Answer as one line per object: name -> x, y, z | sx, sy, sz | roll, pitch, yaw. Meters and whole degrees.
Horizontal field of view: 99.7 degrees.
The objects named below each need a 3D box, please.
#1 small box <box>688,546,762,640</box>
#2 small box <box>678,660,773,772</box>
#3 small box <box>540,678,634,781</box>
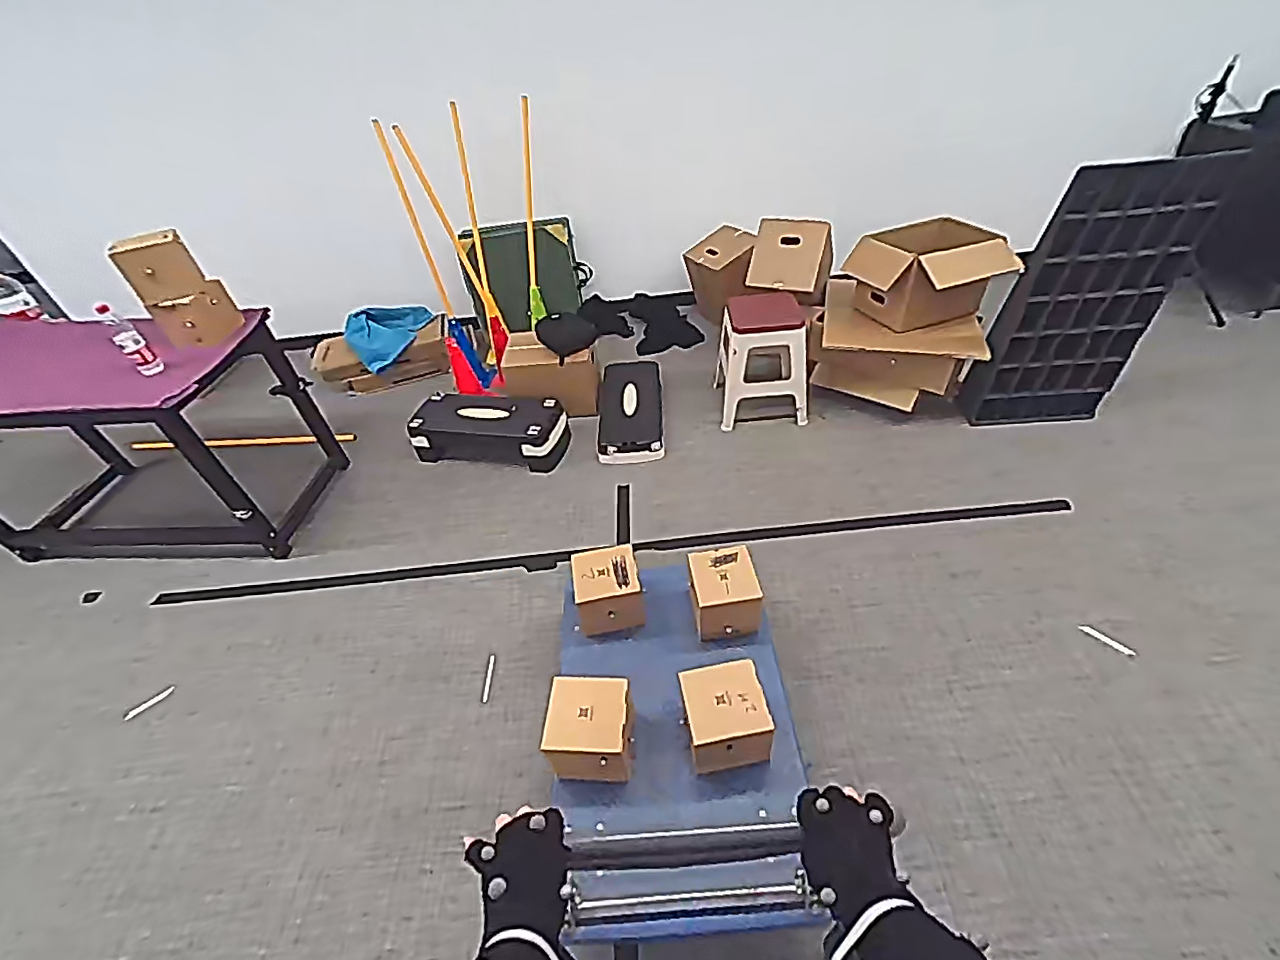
small box -> 0.225, 0.307, 1.471 | 0.168, 0.176, 0.179 | -9, 44, -1
small box -> 0.190, 0.538, 1.228 | 0.179, 0.176, 0.168 | -10, 43, -2
small box -> -0.113, 0.571, 1.237 | 0.179, 0.176, 0.168 | -1, 43, 5
